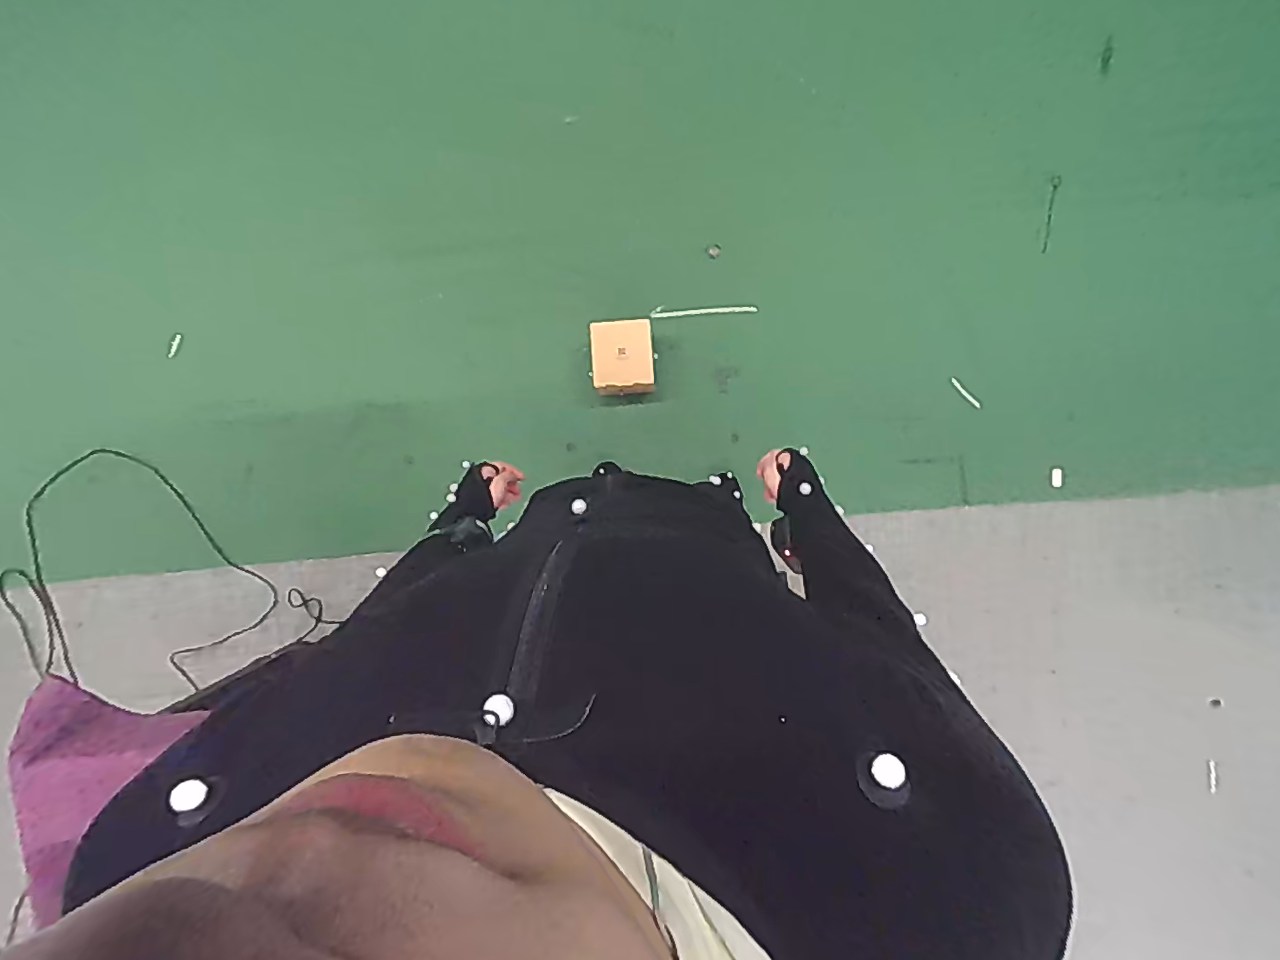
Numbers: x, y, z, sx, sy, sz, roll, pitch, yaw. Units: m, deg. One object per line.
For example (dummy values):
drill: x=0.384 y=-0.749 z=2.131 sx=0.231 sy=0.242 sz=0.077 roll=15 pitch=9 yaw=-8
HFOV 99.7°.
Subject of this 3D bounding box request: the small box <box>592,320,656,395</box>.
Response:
small box: x=-0.044 y=-0.343 z=1.543 sx=0.168 sy=0.176 sz=0.179 roll=-5 pitch=93 yaw=1
